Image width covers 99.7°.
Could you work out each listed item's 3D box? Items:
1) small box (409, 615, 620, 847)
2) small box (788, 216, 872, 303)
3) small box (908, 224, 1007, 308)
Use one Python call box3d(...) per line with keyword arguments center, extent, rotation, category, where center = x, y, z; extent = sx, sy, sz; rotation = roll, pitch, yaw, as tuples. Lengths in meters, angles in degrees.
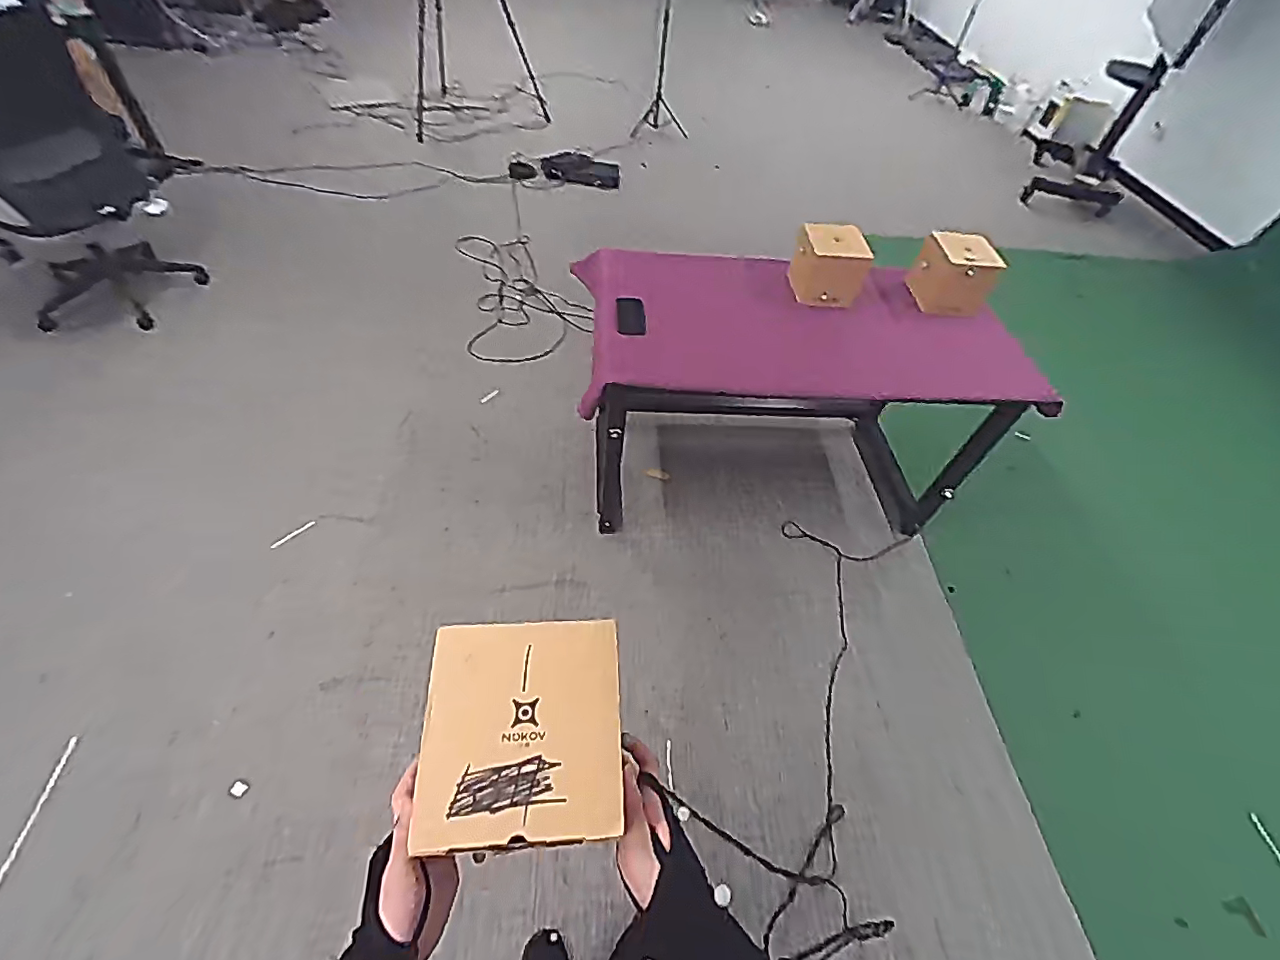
box3d(center=(-0.103, 0.243, 0.527), extent=(0.168, 0.176, 0.179), rotation=(-1, 58, -4), category="small box")
box3d(center=(0.548, -0.647, 1.588), extent=(0.168, 0.176, 0.179), rotation=(1, 53, -4), category="small box")
box3d(center=(0.937, -0.640, 1.617), extent=(0.168, 0.176, 0.179), rotation=(1, 52, -3), category="small box")
